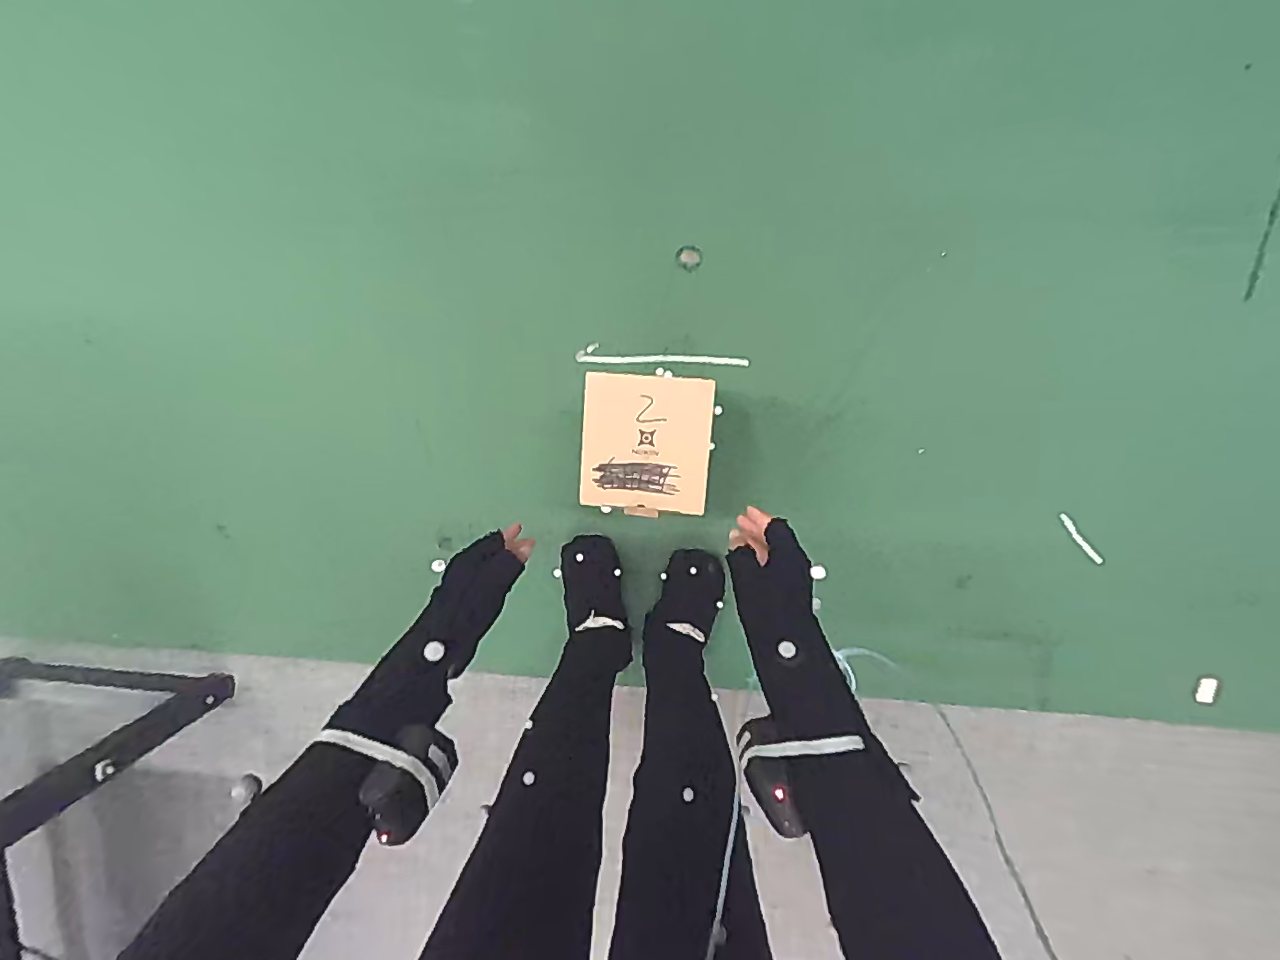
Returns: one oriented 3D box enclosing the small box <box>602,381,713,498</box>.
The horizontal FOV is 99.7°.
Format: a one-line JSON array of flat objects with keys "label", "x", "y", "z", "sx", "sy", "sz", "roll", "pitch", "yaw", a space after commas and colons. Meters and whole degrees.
[{"label": "small box", "x": 0.034, "y": -0.076, "z": 0.936, "sx": 0.168, "sy": 0.176, "sz": 0.179, "roll": 5, "pitch": 99, "yaw": 5}]
